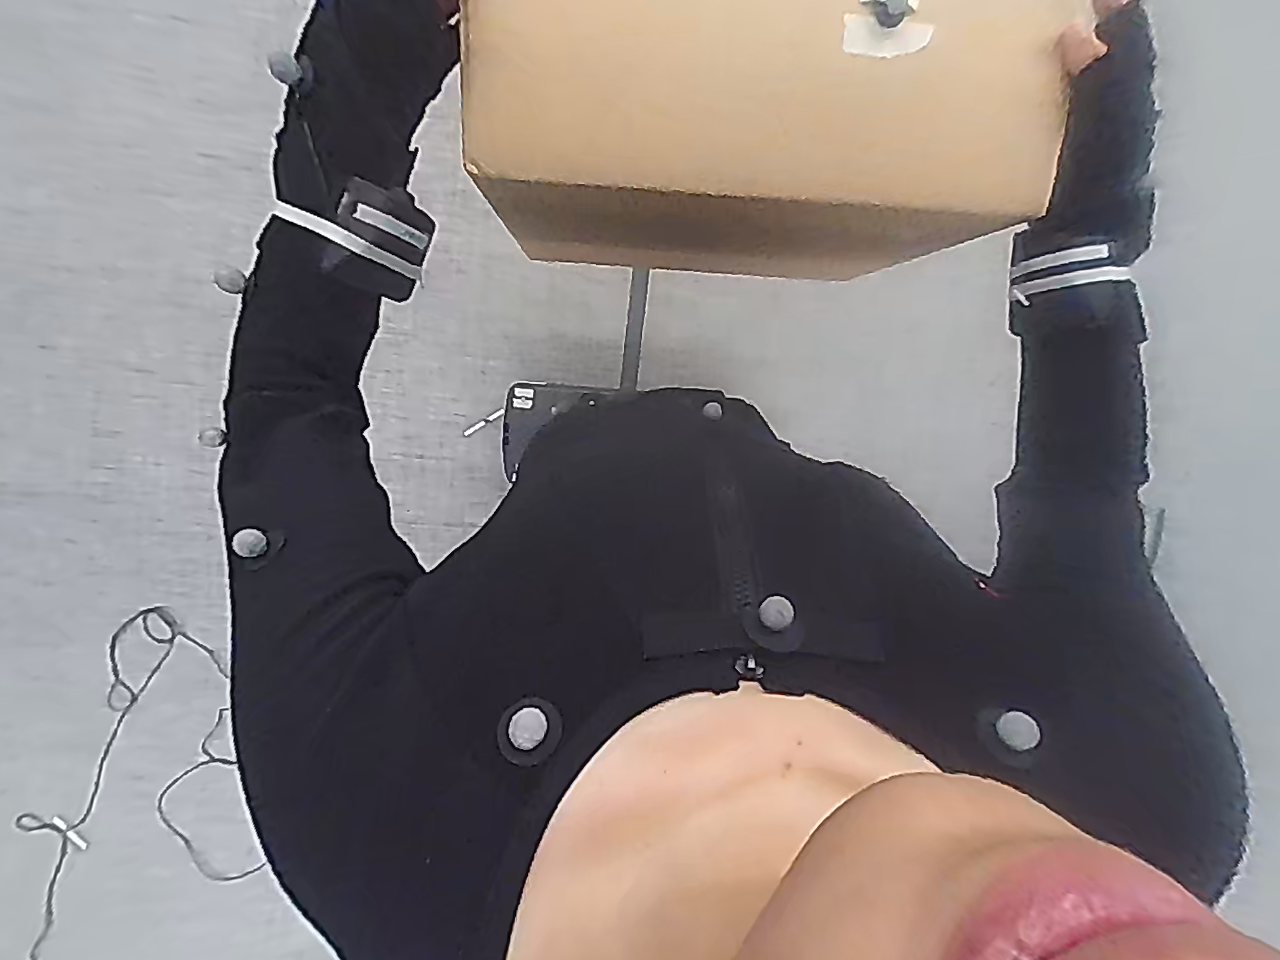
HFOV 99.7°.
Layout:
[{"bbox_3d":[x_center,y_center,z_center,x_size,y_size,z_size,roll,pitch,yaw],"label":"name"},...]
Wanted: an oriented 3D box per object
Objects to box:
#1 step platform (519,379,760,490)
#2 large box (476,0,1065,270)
[{"bbox_3d":[-0.003,-0.130,1.564,0.684,0.204,0.286,2,99,-5],"label":"step platform"},{"bbox_3d":[0.080,-0.384,0.494,0.408,0.320,0.320,1,103,-5],"label":"large box"}]
